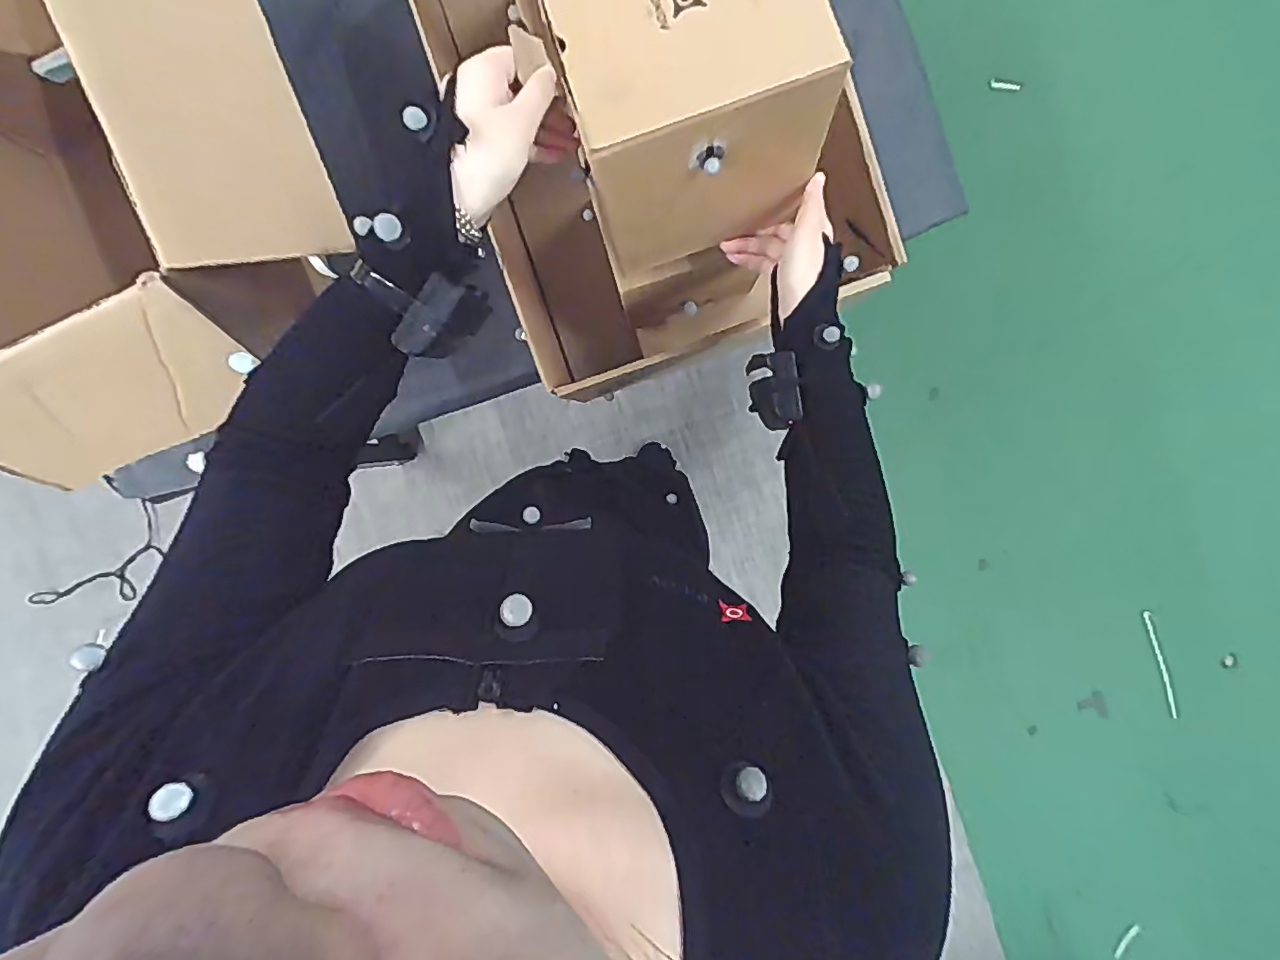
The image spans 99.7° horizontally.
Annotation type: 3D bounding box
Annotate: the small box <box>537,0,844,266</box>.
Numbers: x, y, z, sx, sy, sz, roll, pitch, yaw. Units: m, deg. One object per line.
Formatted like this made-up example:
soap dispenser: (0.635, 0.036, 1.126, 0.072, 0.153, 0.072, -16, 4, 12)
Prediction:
small box: (0.035, -0.304, 0.437, 0.179, 0.176, 0.168, -17, 84, 3)
